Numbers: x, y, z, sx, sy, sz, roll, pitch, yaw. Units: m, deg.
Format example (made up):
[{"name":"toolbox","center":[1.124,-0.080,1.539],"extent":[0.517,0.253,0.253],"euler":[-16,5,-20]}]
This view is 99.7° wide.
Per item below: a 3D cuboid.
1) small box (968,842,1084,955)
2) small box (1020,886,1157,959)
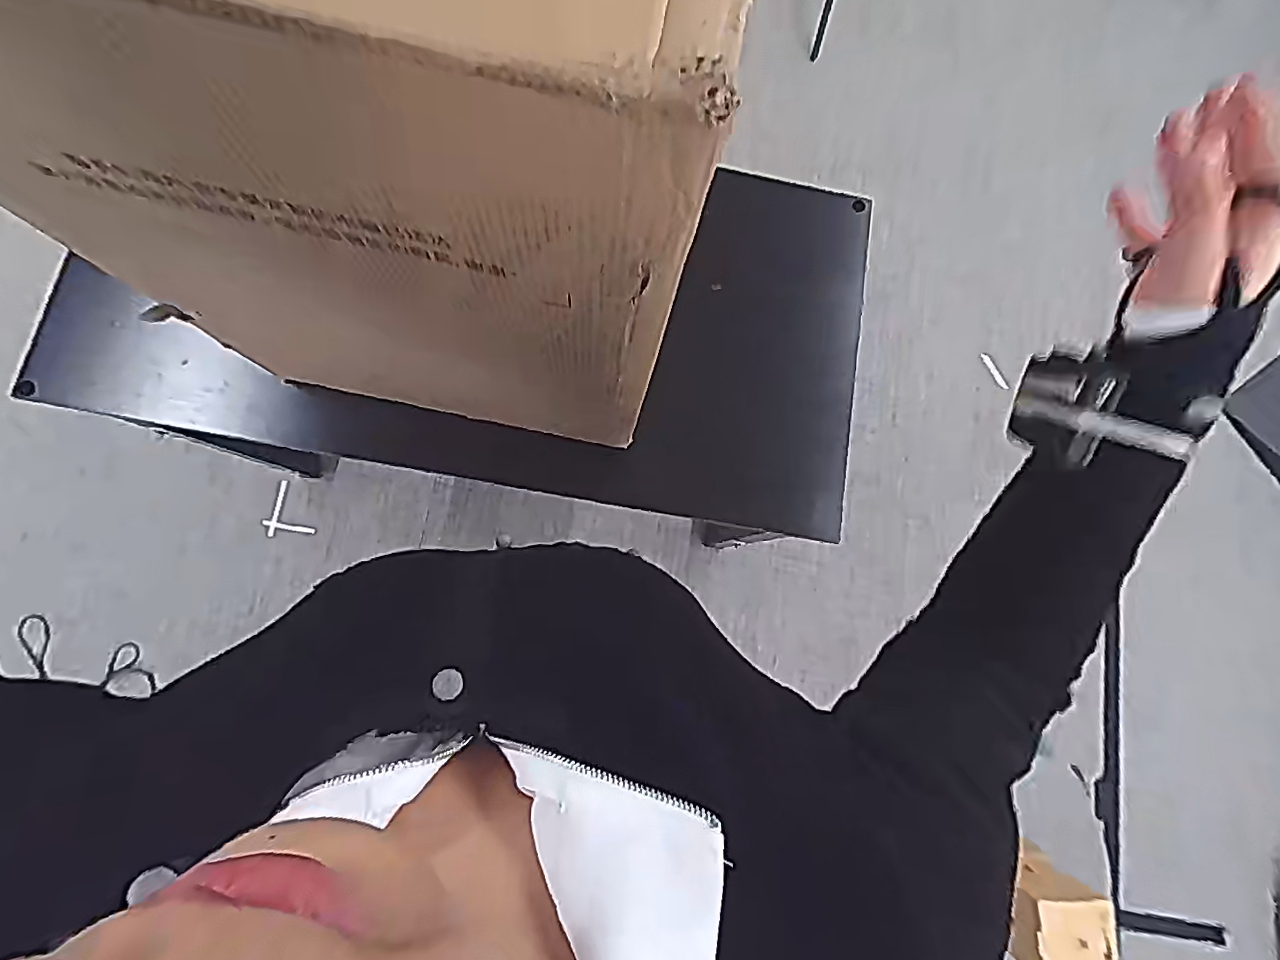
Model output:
[{"name":"small box","center":[0.945,1.020,1.329],"extent":[0.179,0.176,0.168],"euler":[4,80,-4]},{"name":"small box","center":[0.957,1.012,1.165],"extent":[0.179,0.176,0.168],"euler":[3,80,-4]}]
